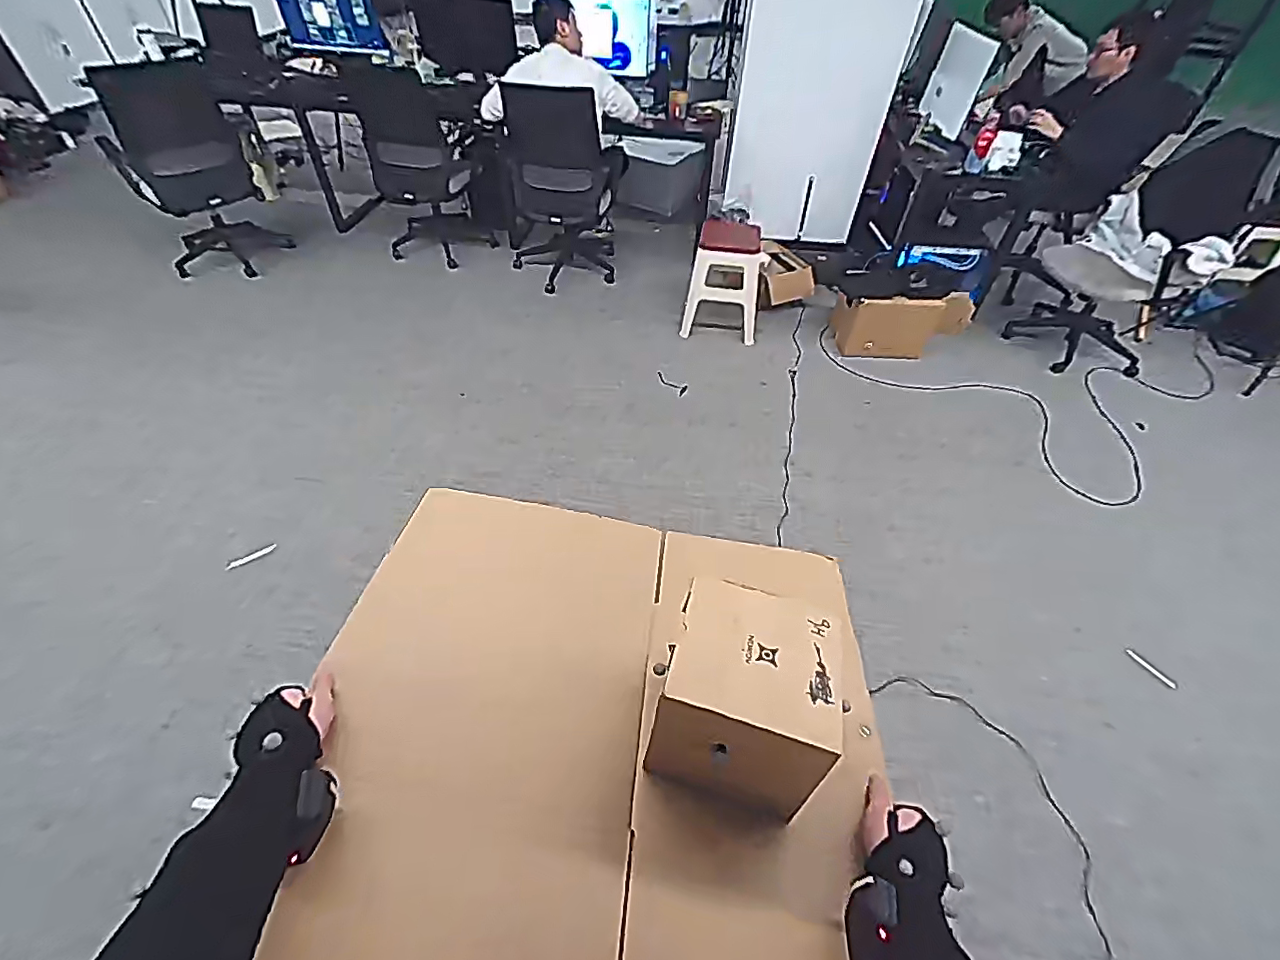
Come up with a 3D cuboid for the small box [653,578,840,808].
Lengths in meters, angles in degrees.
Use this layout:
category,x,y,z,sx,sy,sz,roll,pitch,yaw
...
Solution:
category,x,y,z,sx,sy,sz,roll,pitch,yaw
small box,0.120,0.246,0.627,0.179,0.176,0.168,14,40,9
